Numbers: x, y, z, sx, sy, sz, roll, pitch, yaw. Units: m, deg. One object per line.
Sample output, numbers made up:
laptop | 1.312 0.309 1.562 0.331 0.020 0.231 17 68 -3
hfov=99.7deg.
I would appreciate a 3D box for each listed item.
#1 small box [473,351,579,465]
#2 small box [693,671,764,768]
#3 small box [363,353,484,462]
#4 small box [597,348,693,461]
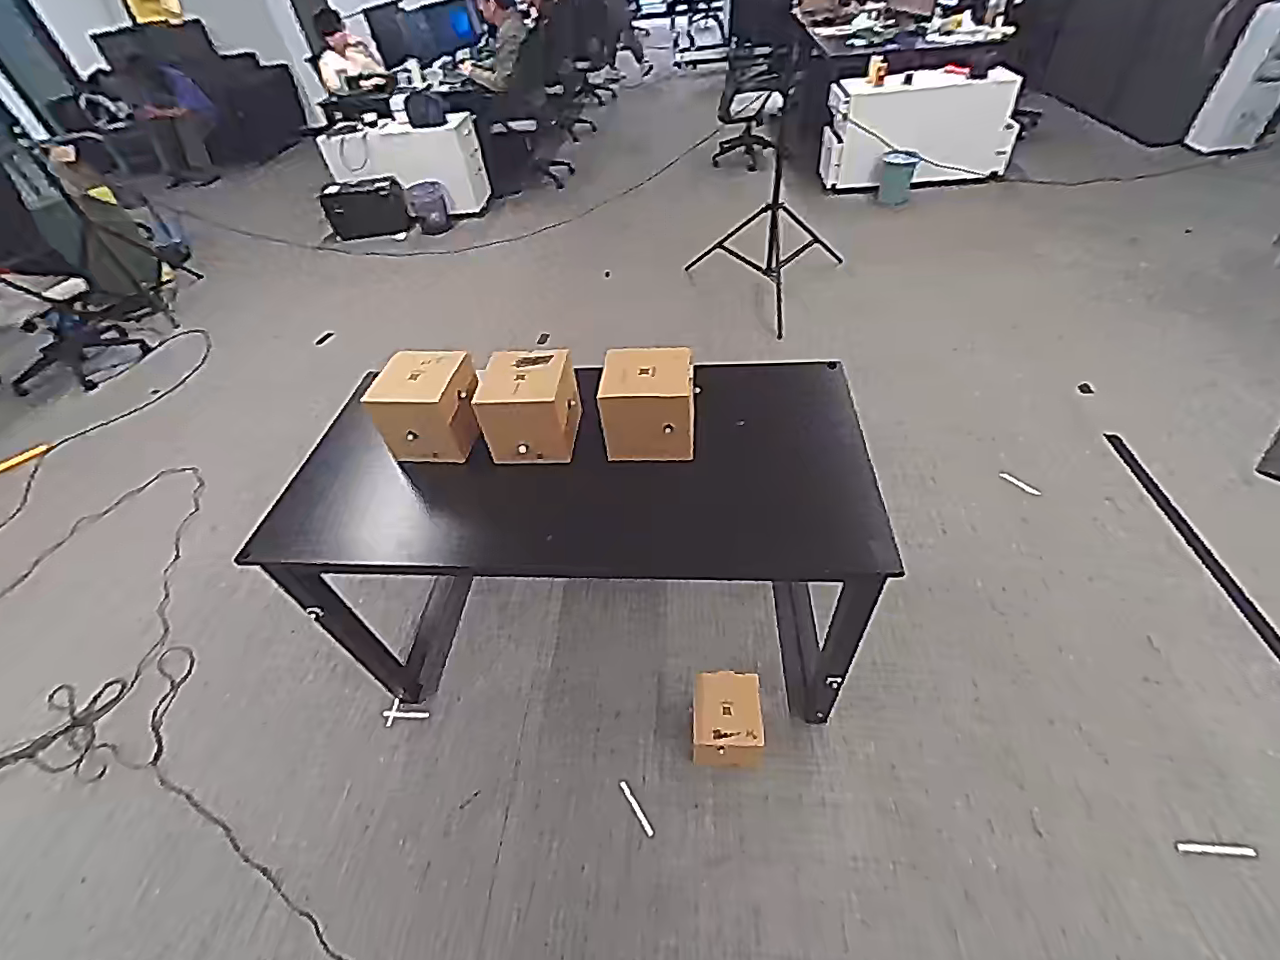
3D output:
small box | -0.229 -0.152 1.139 0.168 0.176 0.179 -1 48 6
small box | 0.218 0.607 1.370 0.168 0.176 0.179 -1 46 7
small box | -0.451 -0.155 1.170 0.168 0.176 0.179 2 47 8
small box | 0.019 -0.152 1.113 0.179 0.176 0.168 -1 45 7
